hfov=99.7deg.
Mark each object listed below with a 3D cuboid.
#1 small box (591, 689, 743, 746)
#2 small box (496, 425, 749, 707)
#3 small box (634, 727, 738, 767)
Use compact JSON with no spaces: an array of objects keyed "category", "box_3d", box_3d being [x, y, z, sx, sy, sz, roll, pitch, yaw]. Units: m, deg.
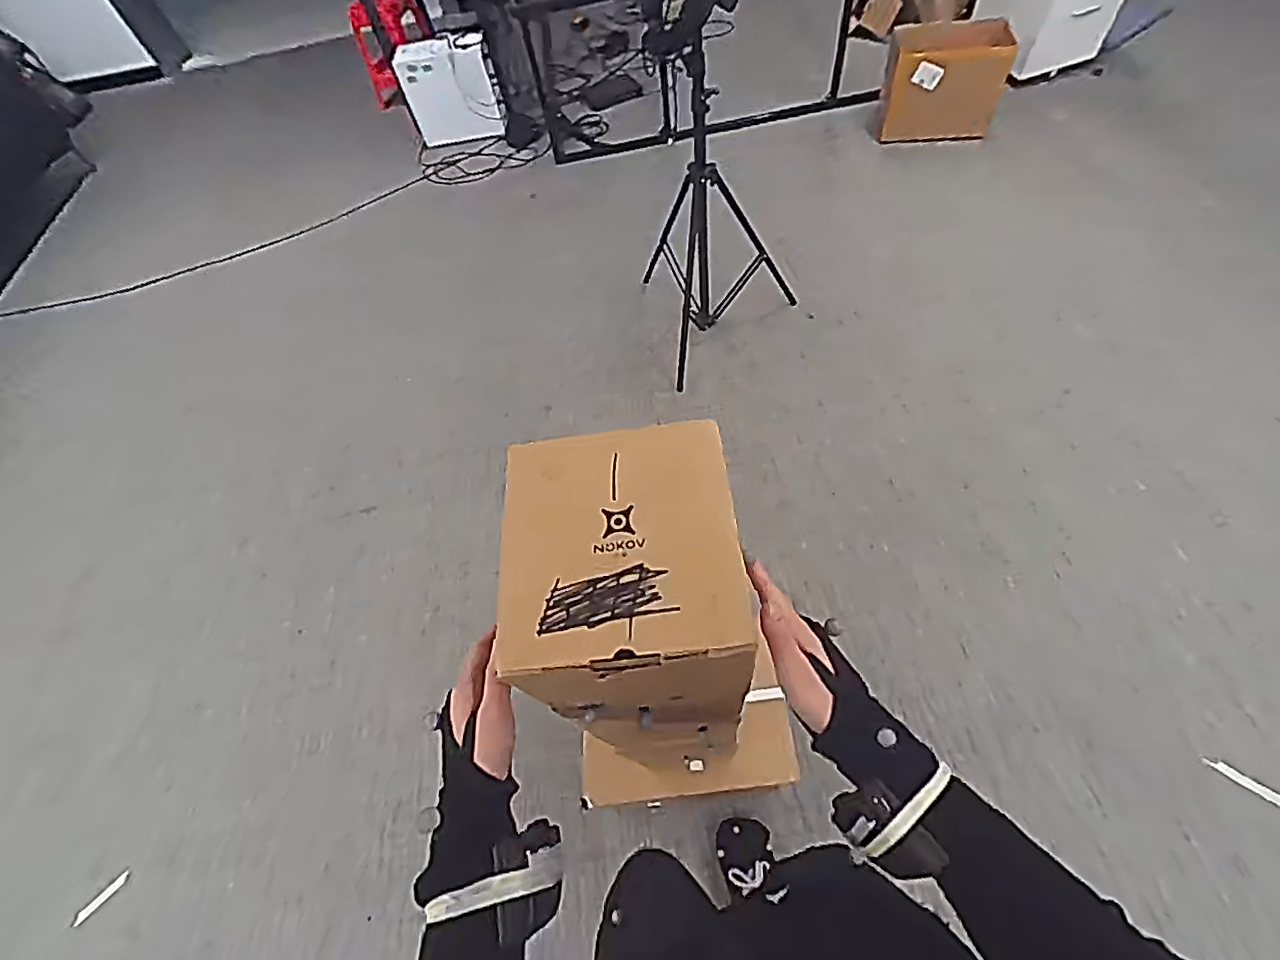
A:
[{"category":"small box","box_3d":[0.033,0.252,0.721,0.179,0.176,0.168,-7,58,4]},{"category":"small box","box_3d":[-0.006,0.082,0.445,0.168,0.176,0.179,-7,58,4]},{"category":"small box","box_3d":[0.077,0.423,0.998,0.179,0.176,0.168,-10,59,1]}]
